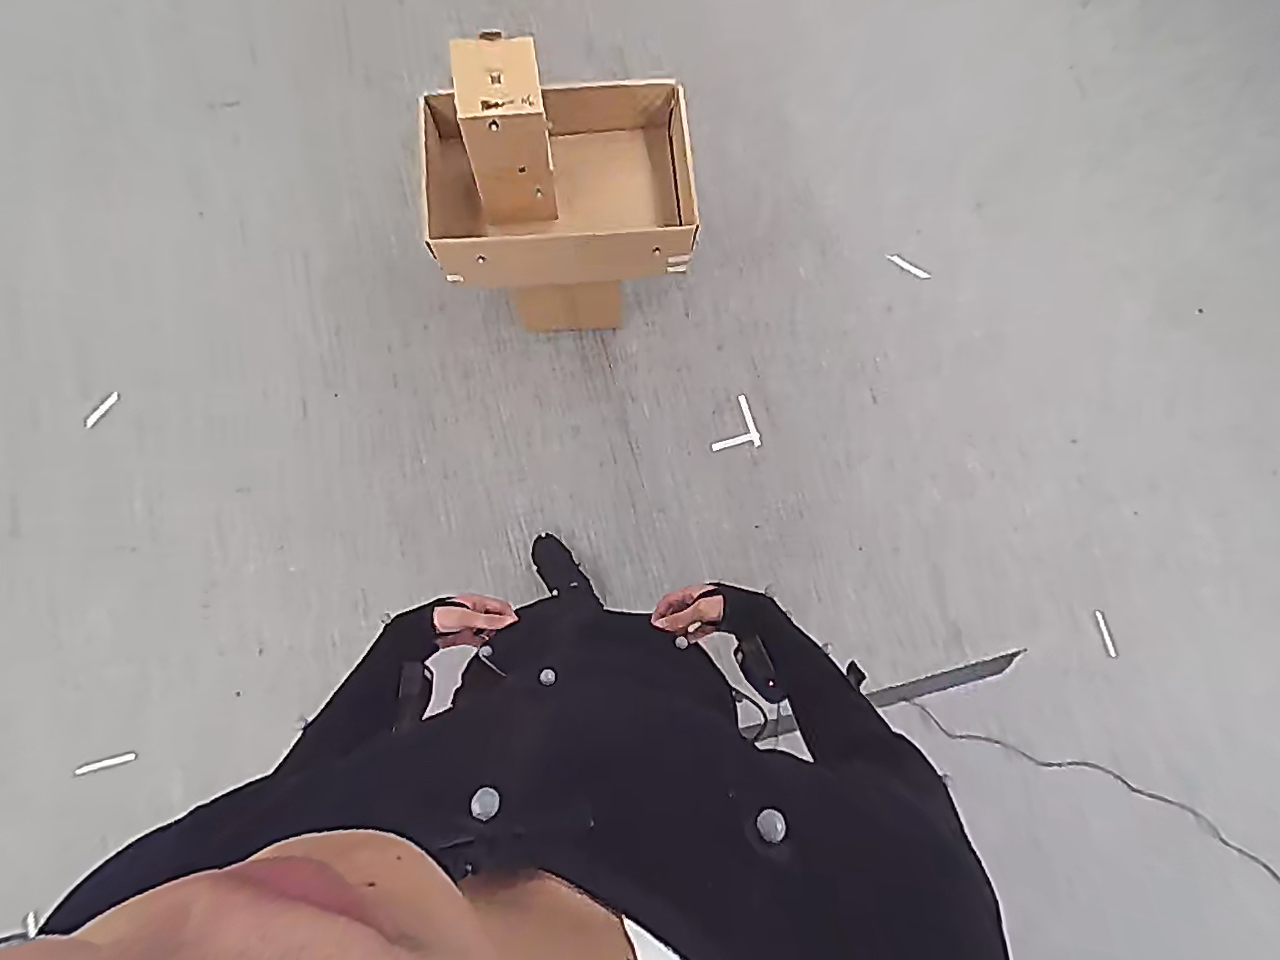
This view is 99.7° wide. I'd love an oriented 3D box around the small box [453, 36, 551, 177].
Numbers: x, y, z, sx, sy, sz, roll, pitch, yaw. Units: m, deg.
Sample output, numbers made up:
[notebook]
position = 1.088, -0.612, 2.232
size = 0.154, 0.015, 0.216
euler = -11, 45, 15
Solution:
[small box]
position = -0.278, -0.763, 1.116
size = 0.168, 0.176, 0.179
euler = -8, 80, -6
